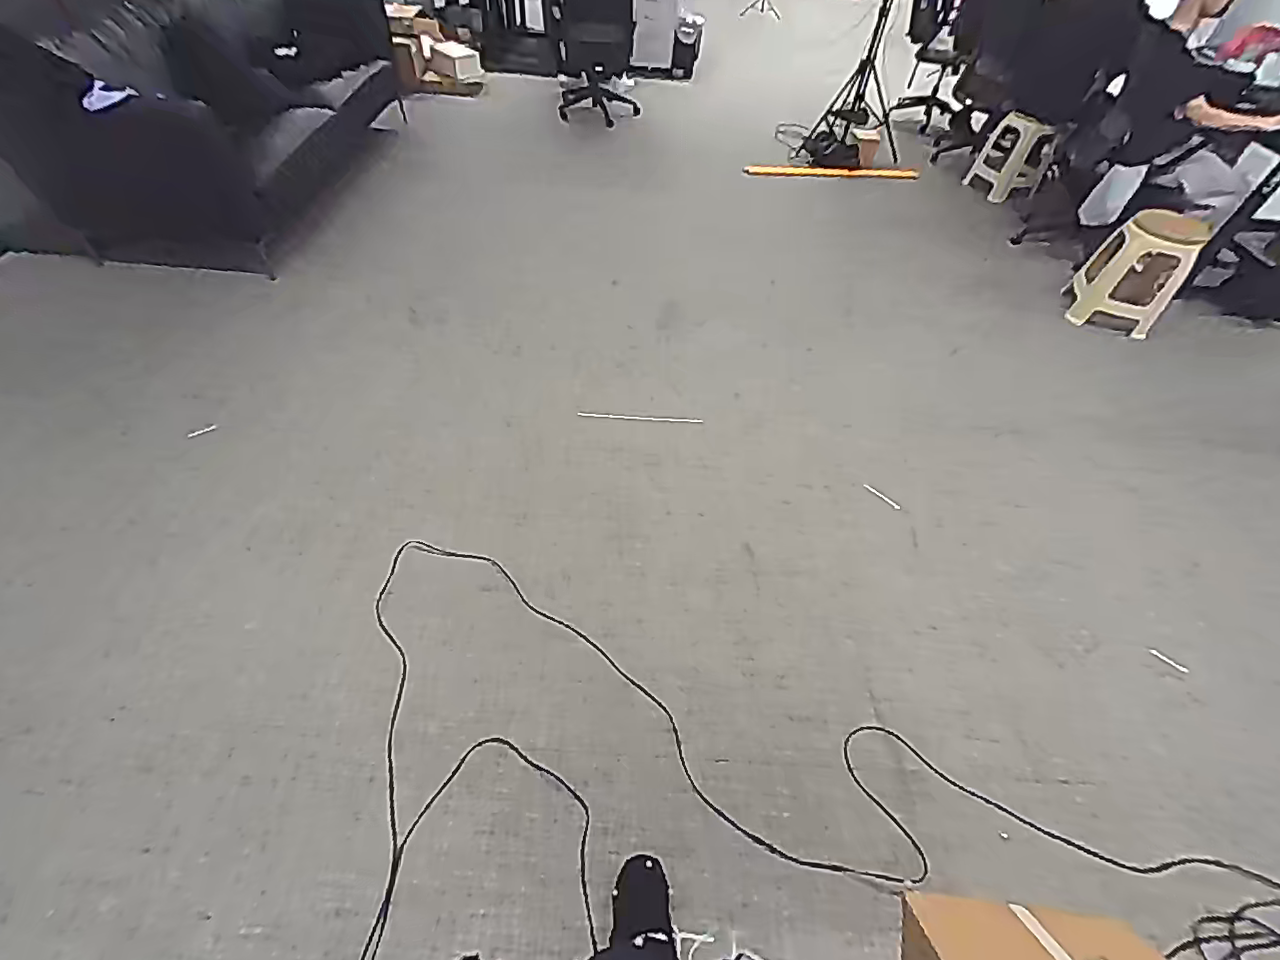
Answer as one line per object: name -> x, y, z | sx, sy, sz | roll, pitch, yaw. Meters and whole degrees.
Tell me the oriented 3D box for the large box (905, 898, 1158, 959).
large box -> 0.519, 0.762, 0.585 | 0.320, 0.408, 0.320 | 5, 83, 7
